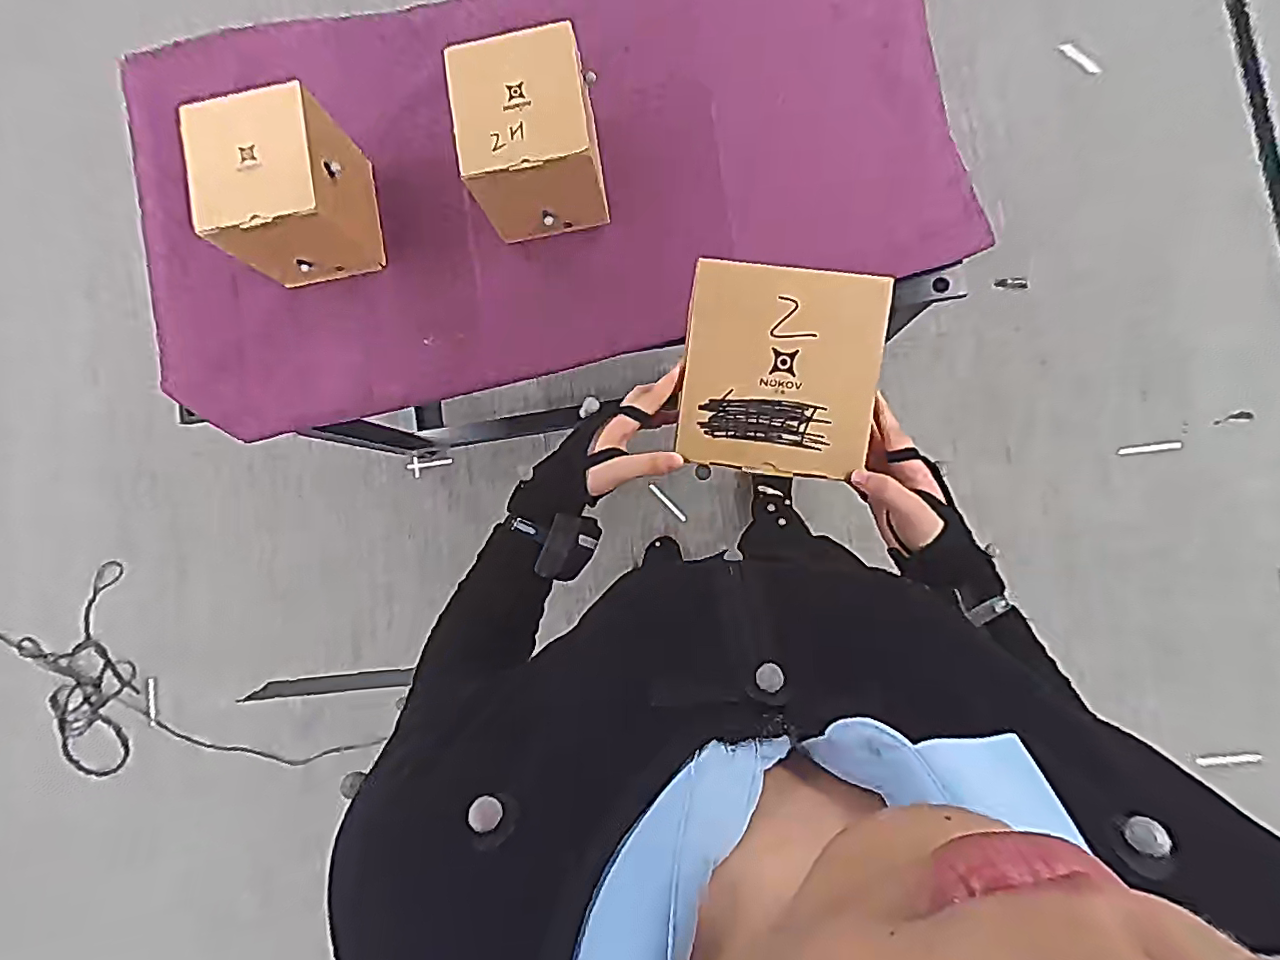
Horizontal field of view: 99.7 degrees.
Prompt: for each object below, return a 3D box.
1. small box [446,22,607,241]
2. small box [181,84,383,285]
[{"bbox_3d":[-0.145,-0.462,0.742,0.168,0.176,0.179,-9,86,5],"label":"small box"},{"bbox_3d":[-0.493,-0.405,0.768,0.168,0.176,0.179,-10,87,3],"label":"small box"}]
